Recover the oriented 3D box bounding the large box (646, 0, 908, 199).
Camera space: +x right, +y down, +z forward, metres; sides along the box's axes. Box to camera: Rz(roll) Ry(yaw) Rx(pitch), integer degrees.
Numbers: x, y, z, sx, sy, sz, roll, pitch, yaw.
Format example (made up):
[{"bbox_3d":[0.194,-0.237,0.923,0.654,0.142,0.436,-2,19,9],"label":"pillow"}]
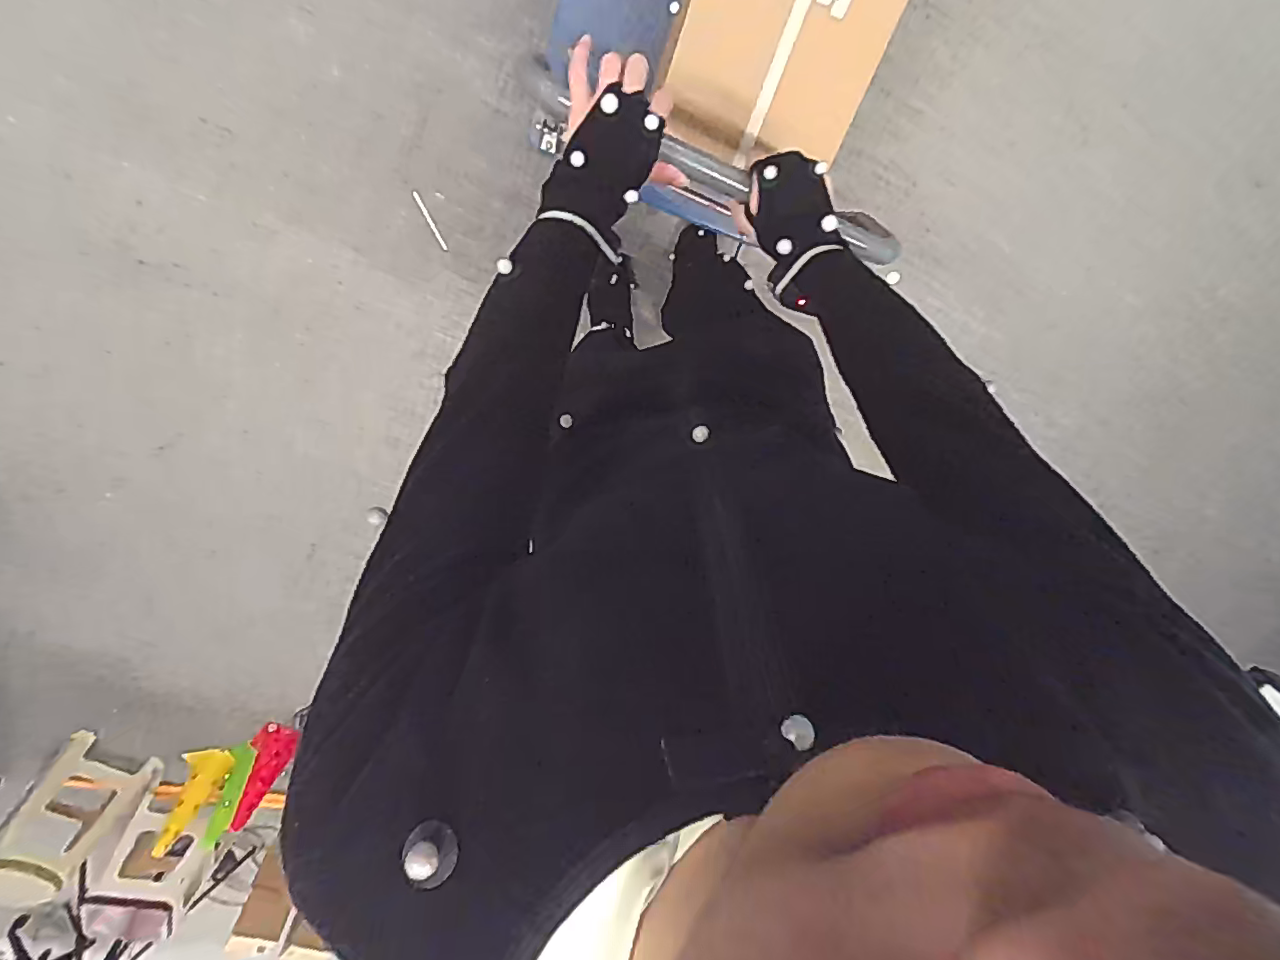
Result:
[{"bbox_3d":[0.223,-0.765,0.957,0.320,0.320,0.408,16,117,-14],"label":"large box"}]
